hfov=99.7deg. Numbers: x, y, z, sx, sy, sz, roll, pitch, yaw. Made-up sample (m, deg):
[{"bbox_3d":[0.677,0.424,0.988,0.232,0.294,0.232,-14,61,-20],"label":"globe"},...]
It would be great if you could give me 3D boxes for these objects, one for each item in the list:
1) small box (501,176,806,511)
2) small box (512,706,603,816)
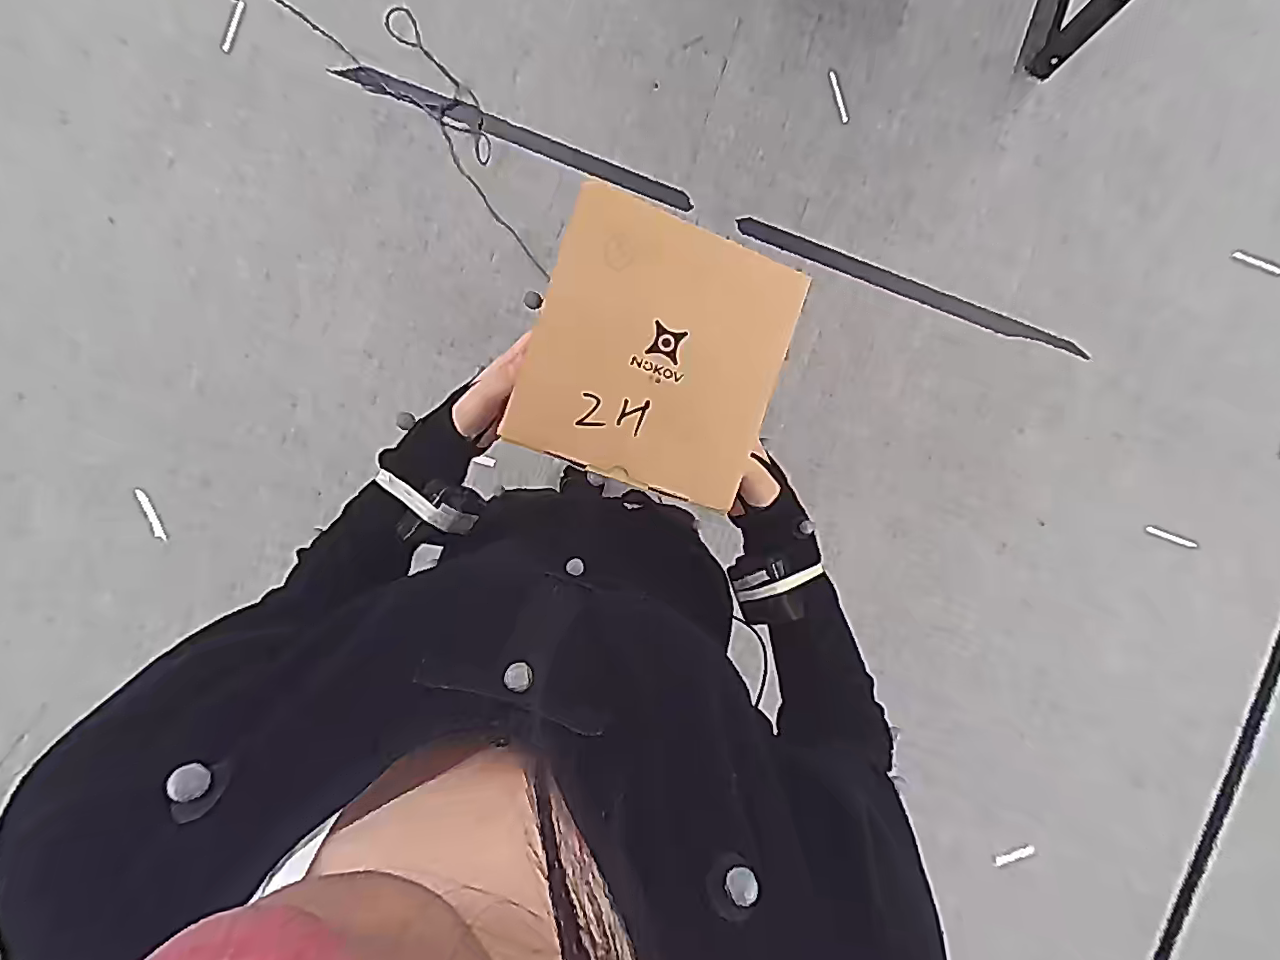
[{"bbox_3d":[-0.002,-0.093,0.435,0.168,0.176,0.179,19,92,-11],"label":"small box"},{"bbox_3d":[-0.209,0.727,1.422,0.179,0.176,0.168,27,90,-4],"label":"small box"}]
